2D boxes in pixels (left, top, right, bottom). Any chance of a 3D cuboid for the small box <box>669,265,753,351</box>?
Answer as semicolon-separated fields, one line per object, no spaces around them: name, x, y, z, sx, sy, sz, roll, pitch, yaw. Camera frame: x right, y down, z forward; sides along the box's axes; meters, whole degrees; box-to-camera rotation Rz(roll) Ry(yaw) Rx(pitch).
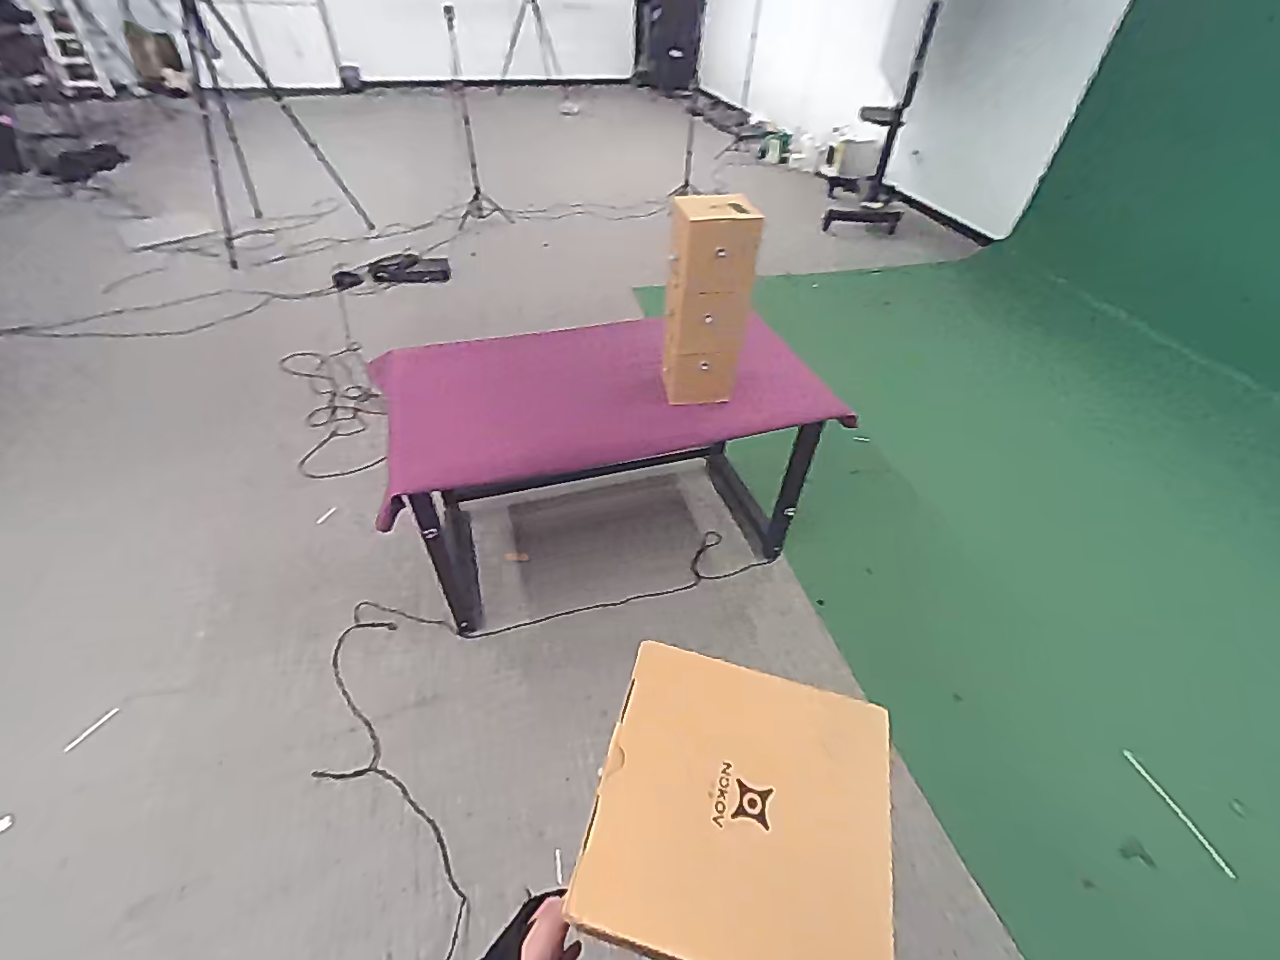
small box;0.174;-0.445;1.394;0.179;0.176;0.168;-6;46;-8

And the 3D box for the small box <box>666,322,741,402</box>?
small box;0.167;-0.330;1.509;0.179;0.176;0.168;-3;45;-6

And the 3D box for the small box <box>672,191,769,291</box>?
small box;0.181;-0.564;1.280;0.179;0.176;0.168;-7;46;-8

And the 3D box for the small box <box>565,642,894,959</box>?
small box;0.060;0.246;0.389;0.179;0.176;0.168;13;50;8
